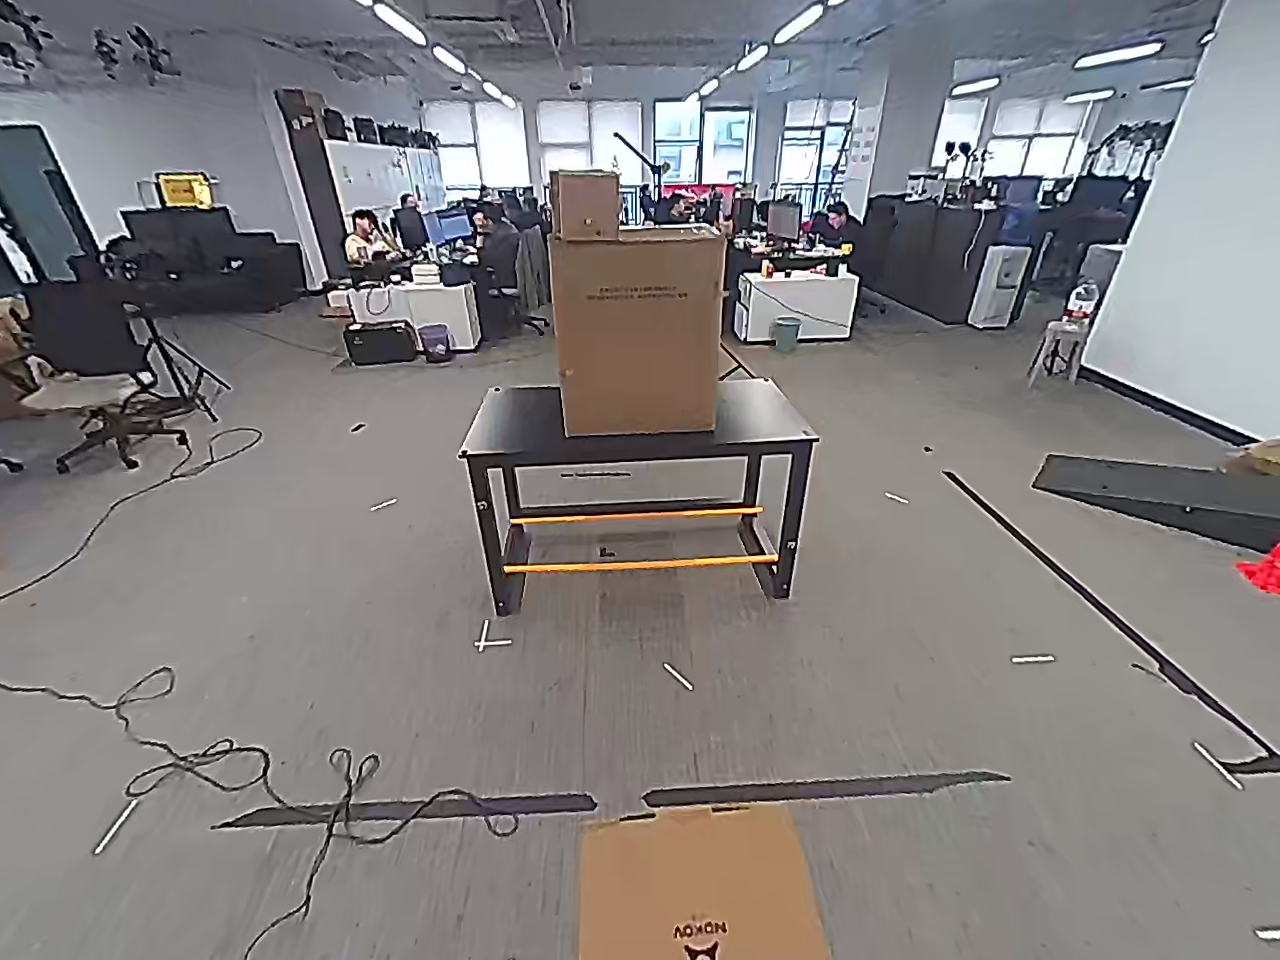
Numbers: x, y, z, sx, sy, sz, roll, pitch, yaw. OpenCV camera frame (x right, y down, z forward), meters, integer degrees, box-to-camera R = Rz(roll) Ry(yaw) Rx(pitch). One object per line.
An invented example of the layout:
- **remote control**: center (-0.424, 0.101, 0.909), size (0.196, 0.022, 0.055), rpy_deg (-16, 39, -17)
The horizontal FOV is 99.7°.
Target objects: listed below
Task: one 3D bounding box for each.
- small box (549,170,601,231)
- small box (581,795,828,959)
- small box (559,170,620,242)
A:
- **small box**: center (-0.200, -0.890, 1.725), size (0.168, 0.176, 0.179), rpy_deg (-4, 30, -7)
- **small box**: center (0.043, 0.371, 0.414), size (0.168, 0.176, 0.179), rpy_deg (-5, 42, -2)
- **small box**: center (-0.147, -0.796, 1.567), size (0.168, 0.176, 0.179), rpy_deg (-3, 33, -6)
